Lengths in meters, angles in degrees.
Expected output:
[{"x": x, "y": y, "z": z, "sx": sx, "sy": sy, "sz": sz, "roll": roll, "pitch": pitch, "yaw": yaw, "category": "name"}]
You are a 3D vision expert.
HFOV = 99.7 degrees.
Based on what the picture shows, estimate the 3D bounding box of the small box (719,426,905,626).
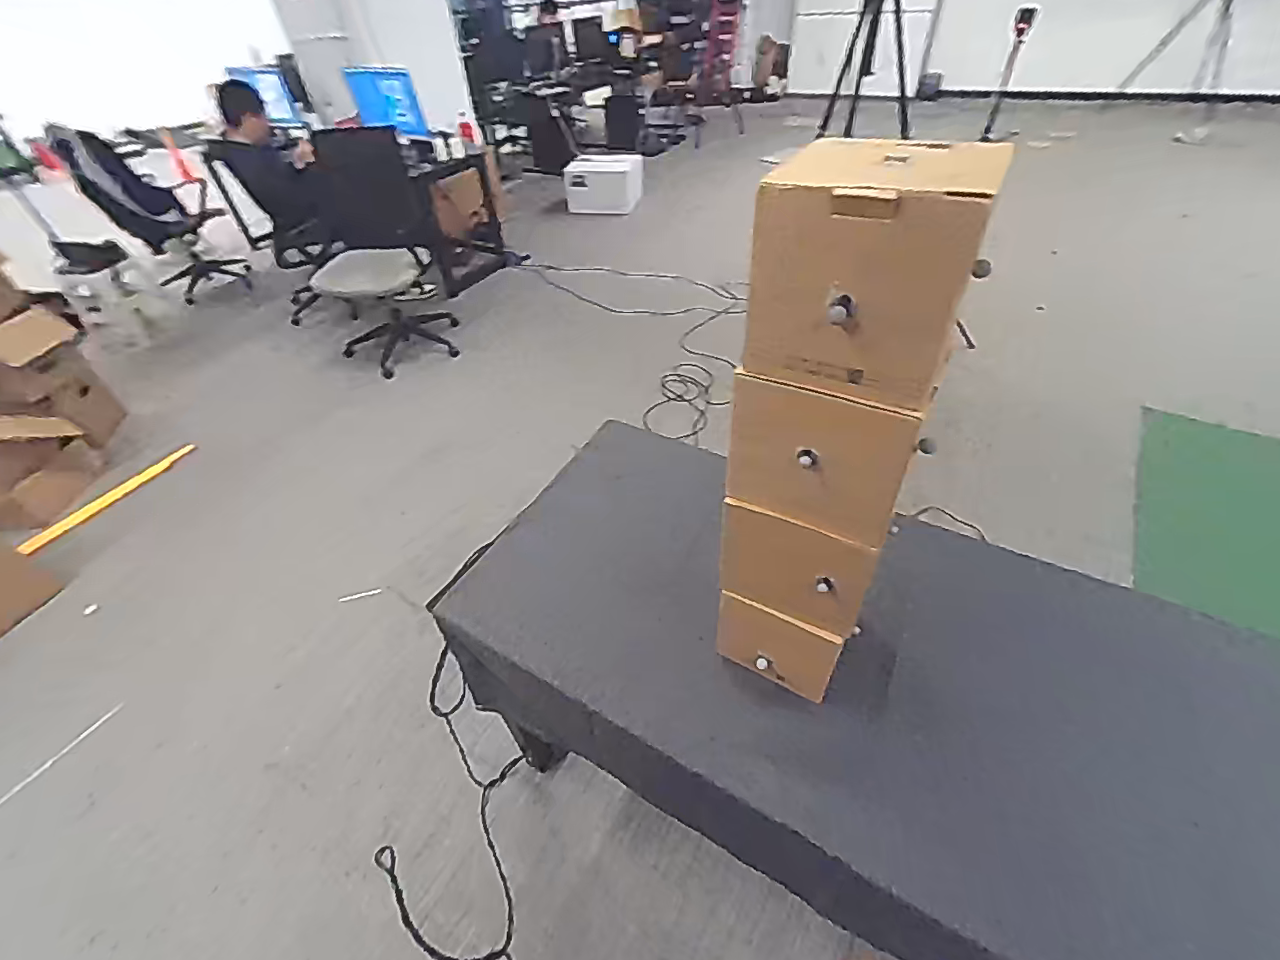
[{"x": 0.214, "y": 0.060, "z": 0.699, "sx": 0.179, "sy": 0.176, "sz": 0.168, "roll": 19, "pitch": 46, "yaw": 24, "category": "small box"}]

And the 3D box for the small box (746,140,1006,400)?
[{"x": 0.204, "y": -0.196, "z": 0.495, "sx": 0.168, "sy": 0.176, "sz": 0.179, "roll": 19, "pitch": 47, "yaw": 25, "category": "small box"}]

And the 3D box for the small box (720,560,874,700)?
[{"x": 0.225, "y": 0.184, "z": 0.804, "sx": 0.168, "sy": 0.176, "sz": 0.179, "roll": 21, "pitch": 48, "yaw": 26, "category": "small box"}]
